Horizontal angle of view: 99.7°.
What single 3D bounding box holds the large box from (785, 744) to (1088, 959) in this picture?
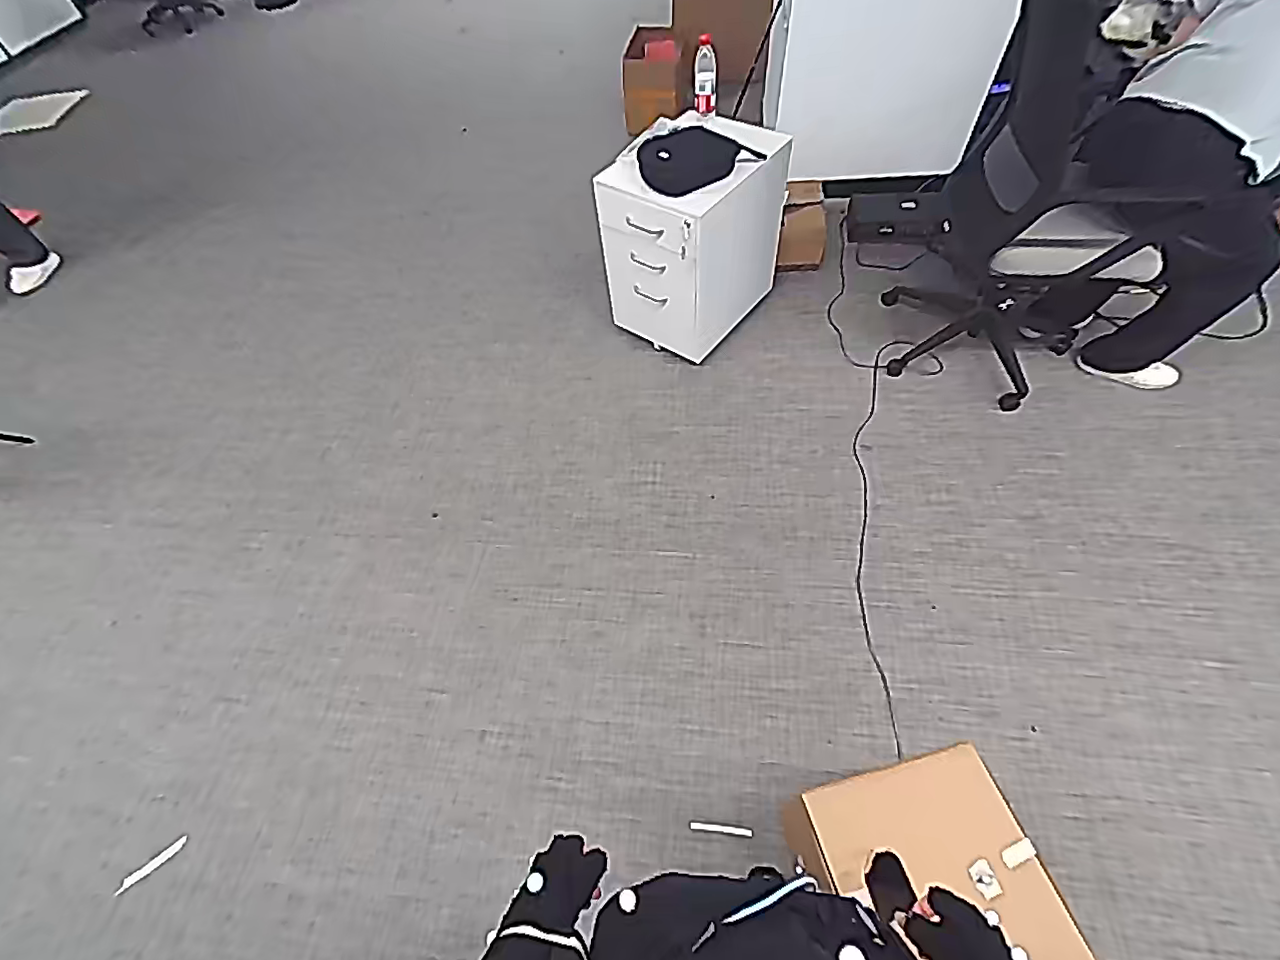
[{"bbox_3d":[0.486,0.723,0.995,0.320,0.408,0.320,-16,55,-1],"label":"large box"}]
